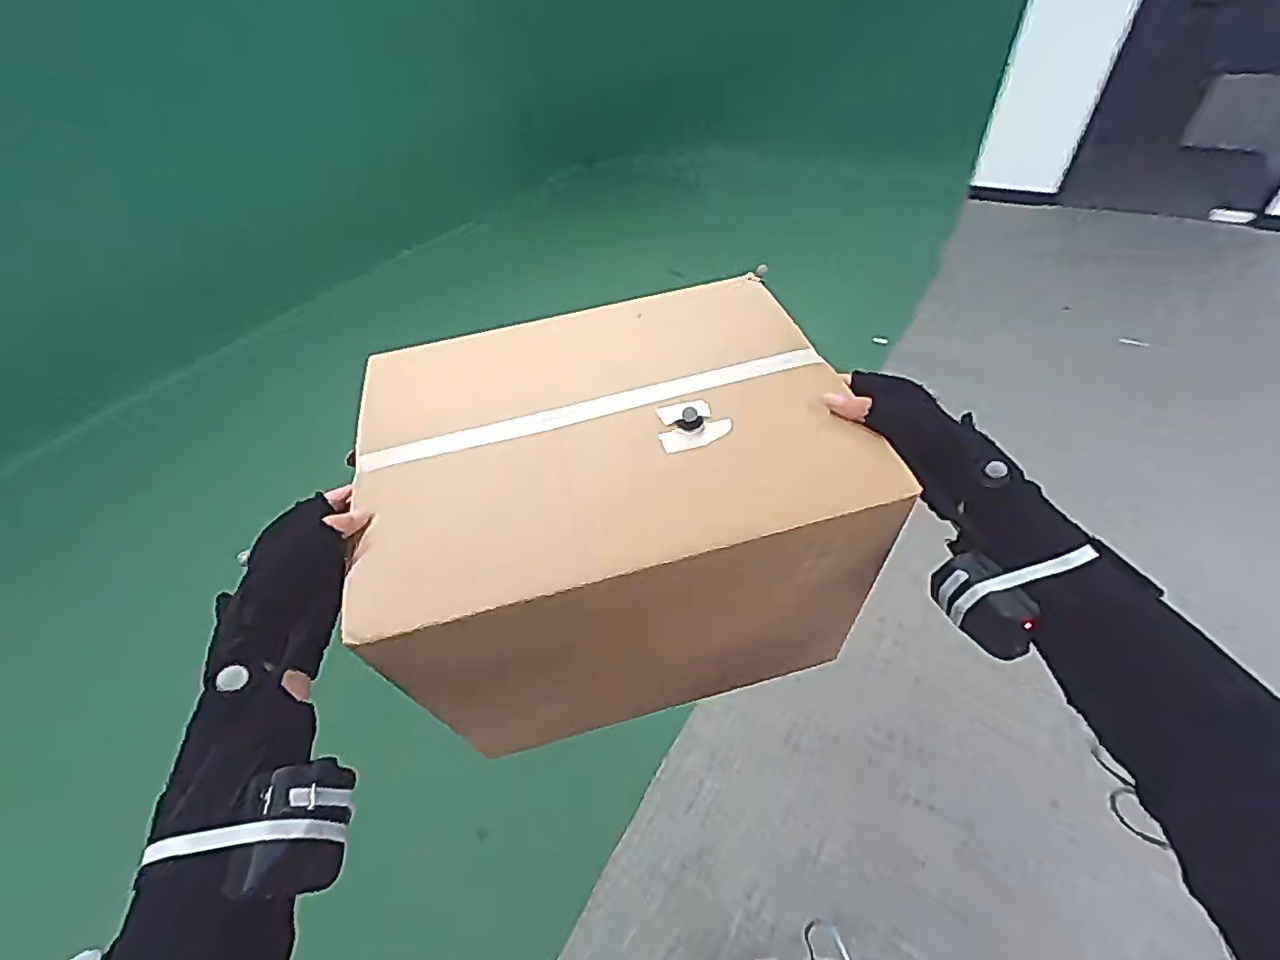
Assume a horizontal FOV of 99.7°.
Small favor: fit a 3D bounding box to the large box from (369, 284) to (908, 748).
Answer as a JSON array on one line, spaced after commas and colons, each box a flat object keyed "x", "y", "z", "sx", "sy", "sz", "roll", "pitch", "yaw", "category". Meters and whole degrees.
[{"x": -0.016, "y": 0.040, "z": 0.584, "sx": 0.408, "sy": 0.320, "sz": 0.320, "roll": -14, "pitch": 51, "yaw": -5, "category": "large box"}]
